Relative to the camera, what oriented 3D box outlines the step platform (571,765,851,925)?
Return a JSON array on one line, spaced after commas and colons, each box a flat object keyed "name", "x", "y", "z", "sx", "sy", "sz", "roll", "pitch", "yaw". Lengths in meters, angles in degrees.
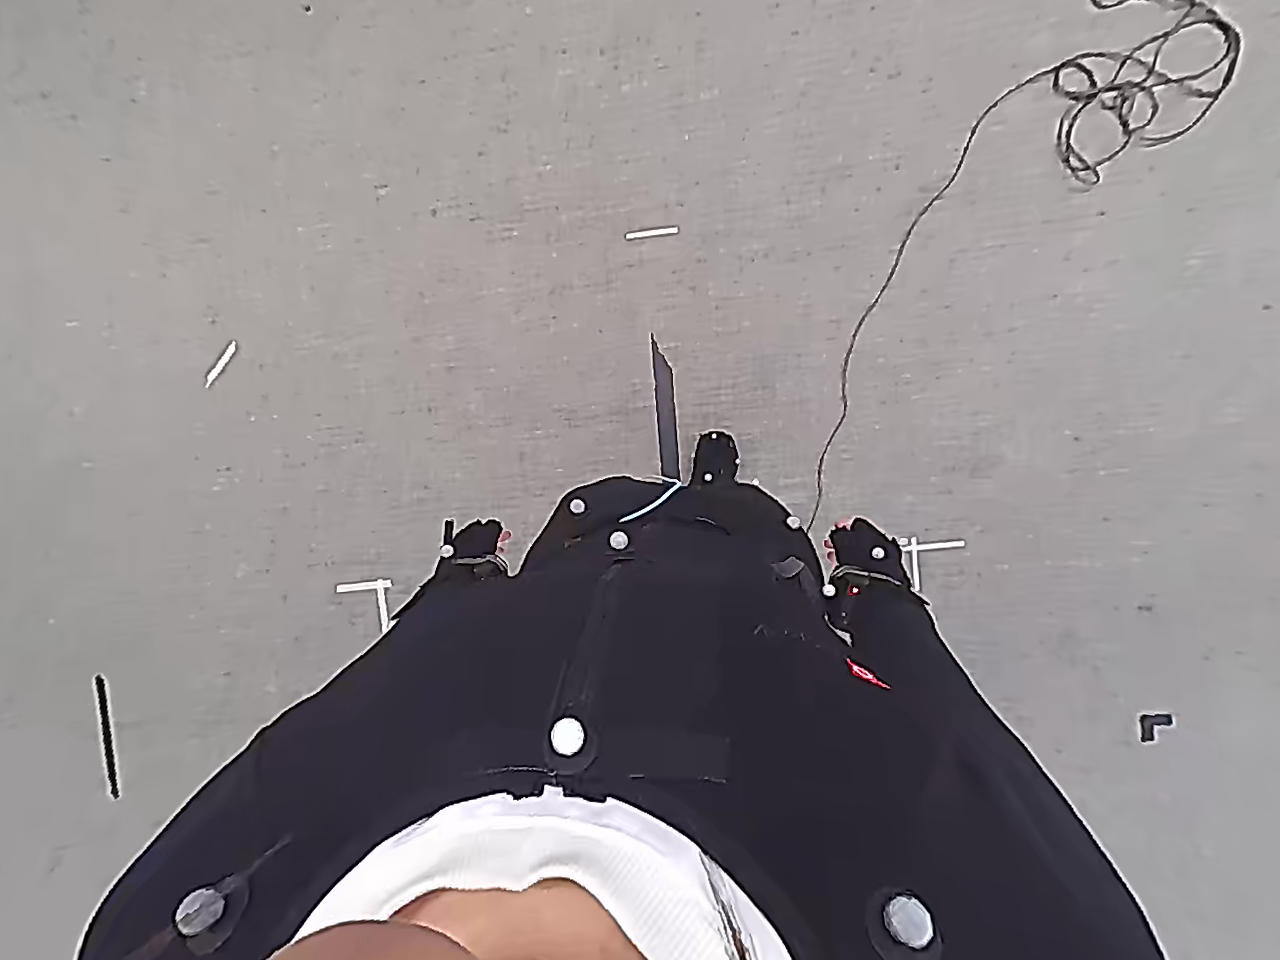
[{"name": "step platform", "x": 0.170, "y": 0.919, "z": 1.372, "sx": 0.684, "sy": 0.204, "sz": 0.286, "roll": -6, "pitch": 91, "yaw": 9}]
